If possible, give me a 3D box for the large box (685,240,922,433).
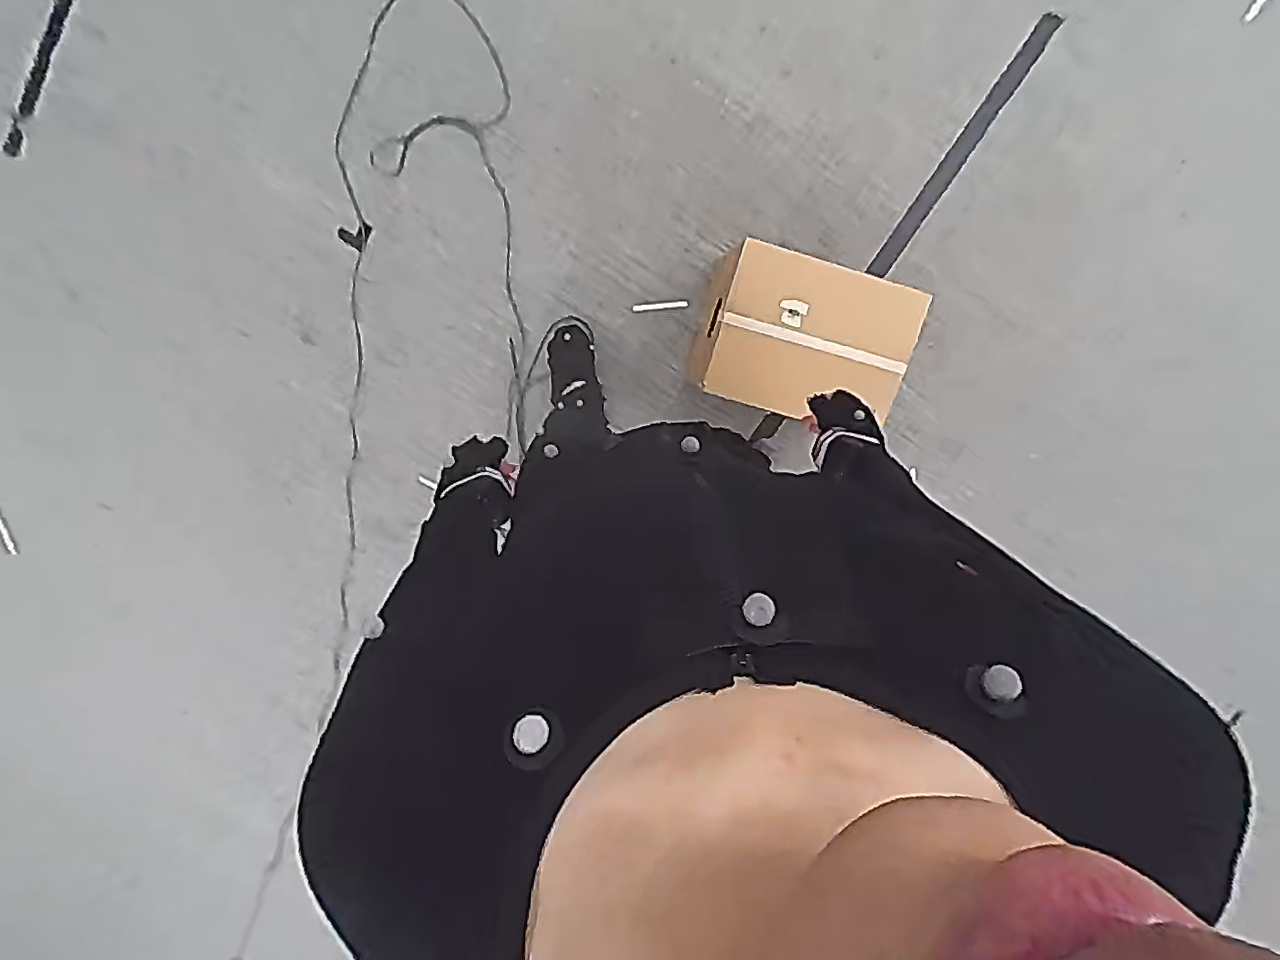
[{"bbox_3d":[0.347,-0.326,1.263,0.408,0.320,0.320,14,103,-5],"label":"large box"}]
